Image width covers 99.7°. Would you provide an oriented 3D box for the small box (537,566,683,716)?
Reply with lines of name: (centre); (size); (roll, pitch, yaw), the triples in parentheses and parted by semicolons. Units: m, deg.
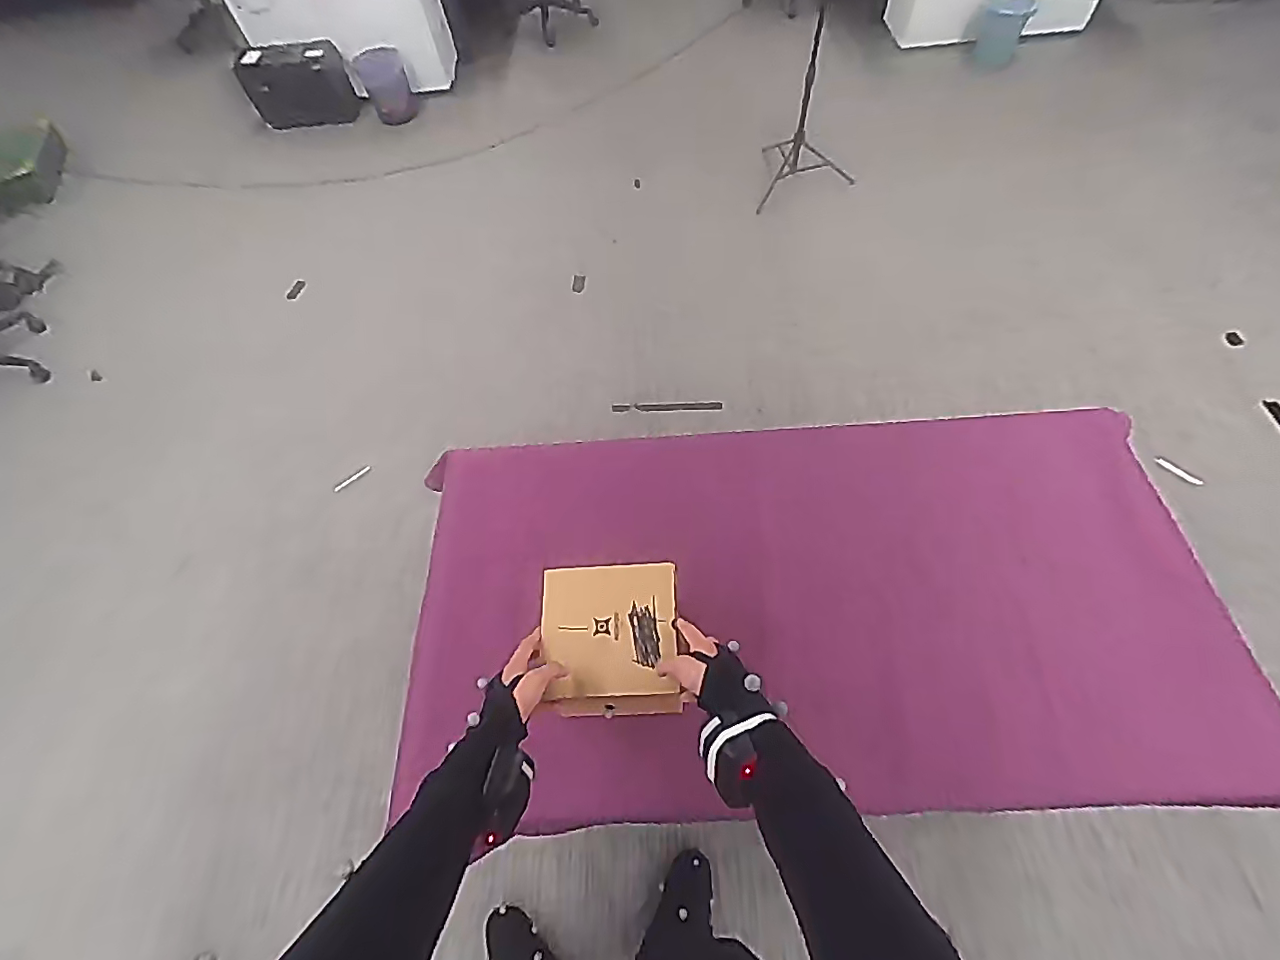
small box: (-0.032, 0.227, 0.749); (0.179, 0.176, 0.168); (-3, 59, 3)
